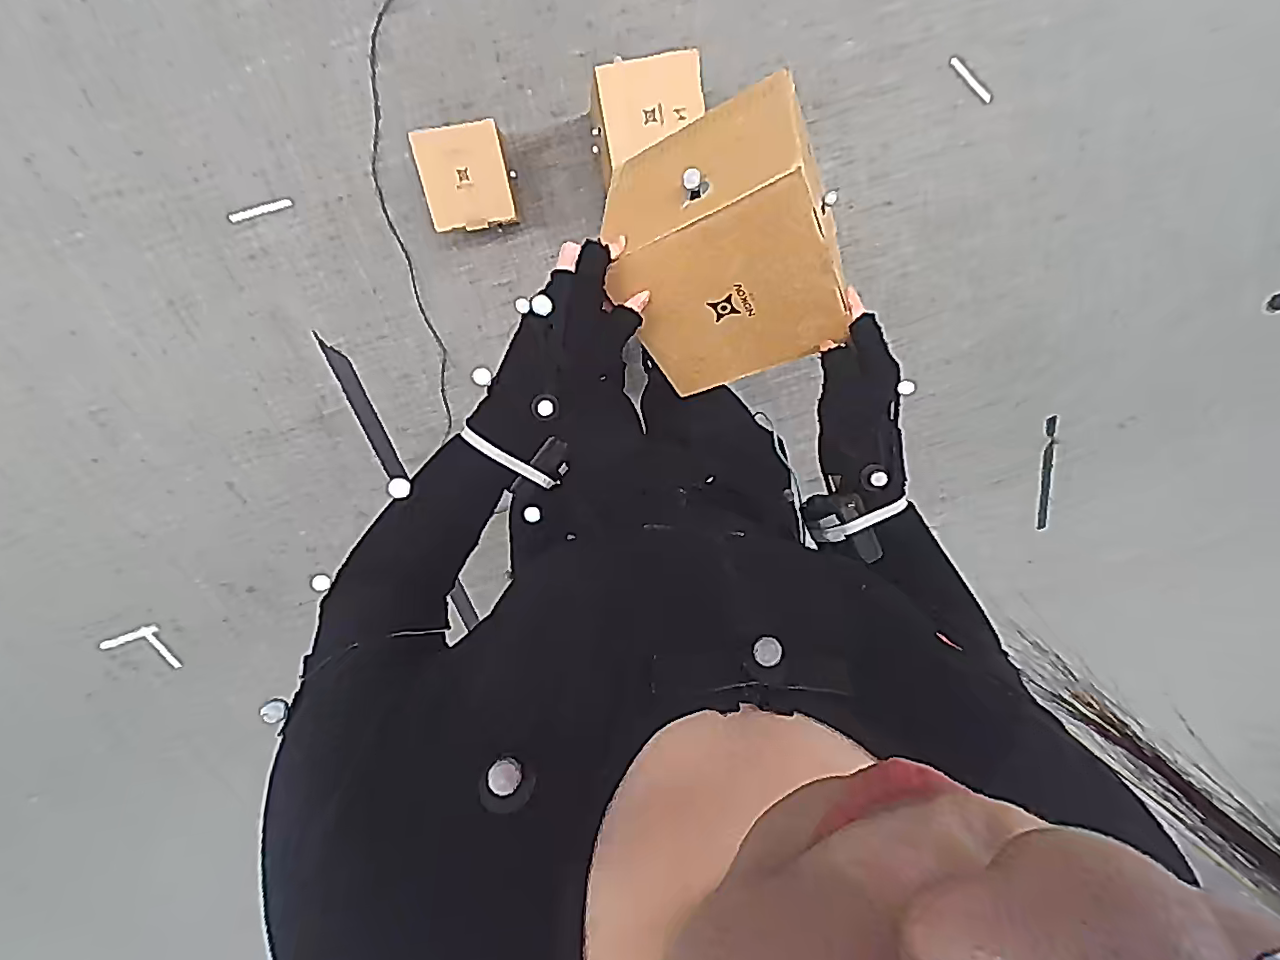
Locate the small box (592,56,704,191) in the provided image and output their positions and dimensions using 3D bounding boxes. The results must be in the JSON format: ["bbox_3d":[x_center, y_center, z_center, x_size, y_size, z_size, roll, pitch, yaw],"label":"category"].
[{"bbox_3d":[0.012,-0.635,0.983,0.179,0.176,0.168,-12,115,-3],"label":"small box"}]

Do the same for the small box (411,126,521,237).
[{"bbox_3d":[-0.350,-0.614,1.127,0.168,0.176,0.179,-11,114,-3],"label":"small box"}]

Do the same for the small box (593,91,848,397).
[{"bbox_3d":[0.079,-0.213,0.510,0.179,0.176,0.168,-16,140,26],"label":"small box"}]
